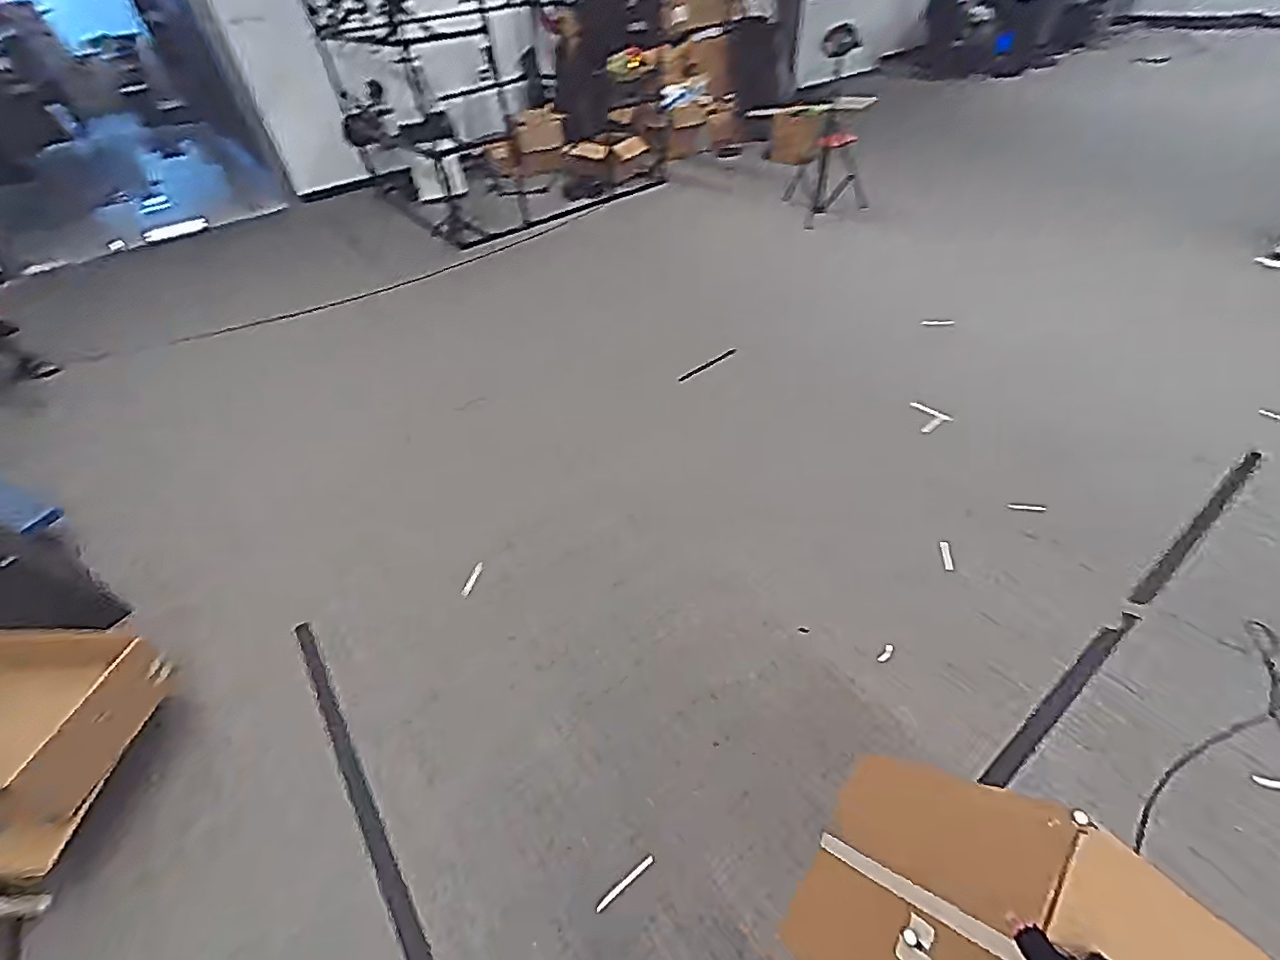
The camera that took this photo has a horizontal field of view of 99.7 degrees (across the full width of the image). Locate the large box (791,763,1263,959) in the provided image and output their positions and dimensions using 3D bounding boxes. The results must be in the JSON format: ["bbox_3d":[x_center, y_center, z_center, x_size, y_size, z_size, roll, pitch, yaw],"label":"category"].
[{"bbox_3d":[0.469,0.622,0.677,0.320,0.408,0.320,39,70,4],"label":"large box"}]
